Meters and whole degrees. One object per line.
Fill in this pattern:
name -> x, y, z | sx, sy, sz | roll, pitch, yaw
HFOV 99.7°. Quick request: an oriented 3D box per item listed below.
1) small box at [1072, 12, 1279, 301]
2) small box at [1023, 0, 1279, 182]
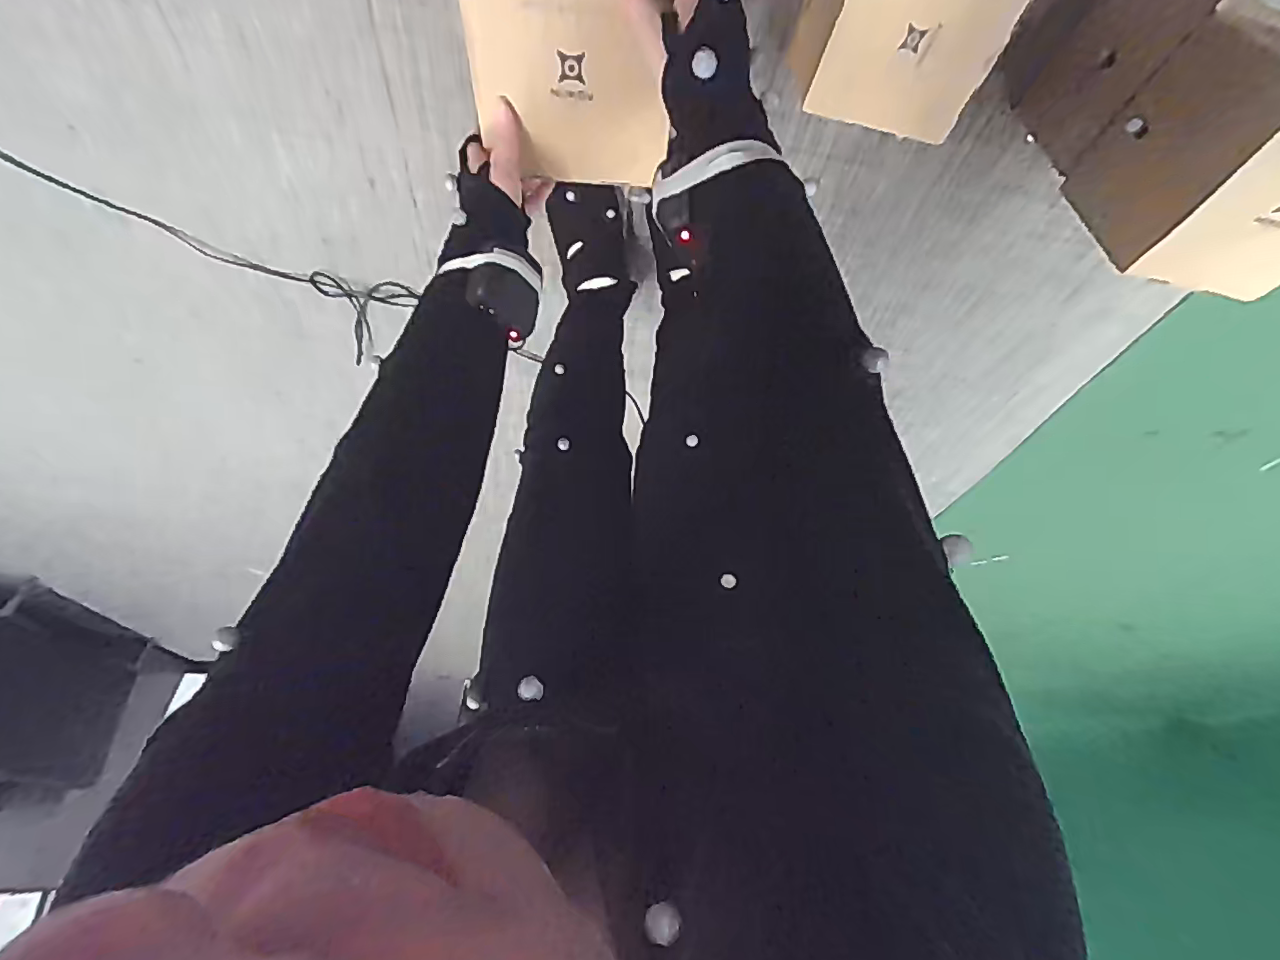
small box -> 0.591, -0.318, 0.548 | 0.168, 0.176, 0.179 | 8, 147, -9
small box -> 0.594, -0.459, 0.632 | 0.168, 0.176, 0.179 | 10, 145, -12
